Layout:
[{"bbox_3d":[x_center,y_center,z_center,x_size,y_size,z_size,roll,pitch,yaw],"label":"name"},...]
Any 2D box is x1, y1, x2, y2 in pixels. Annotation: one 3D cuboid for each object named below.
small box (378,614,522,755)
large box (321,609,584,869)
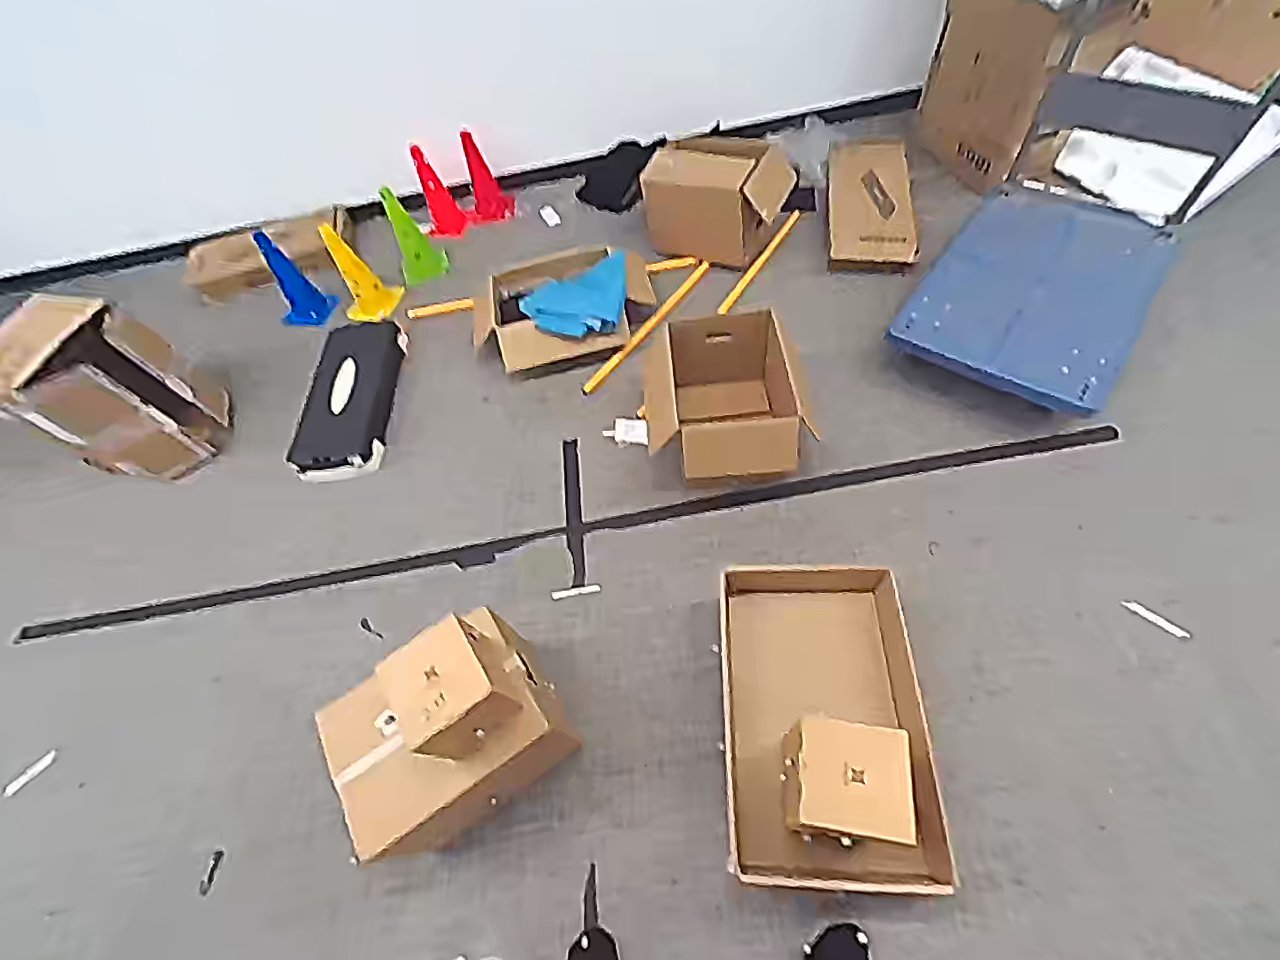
[{"bbox_3d":[-0.350,0.390,1.018,0.168,0.176,0.179,-35,60,-12],"label":"small box"},{"bbox_3d":[-0.394,0.566,1.208,0.408,0.320,0.320,-34,59,-11],"label":"large box"}]
